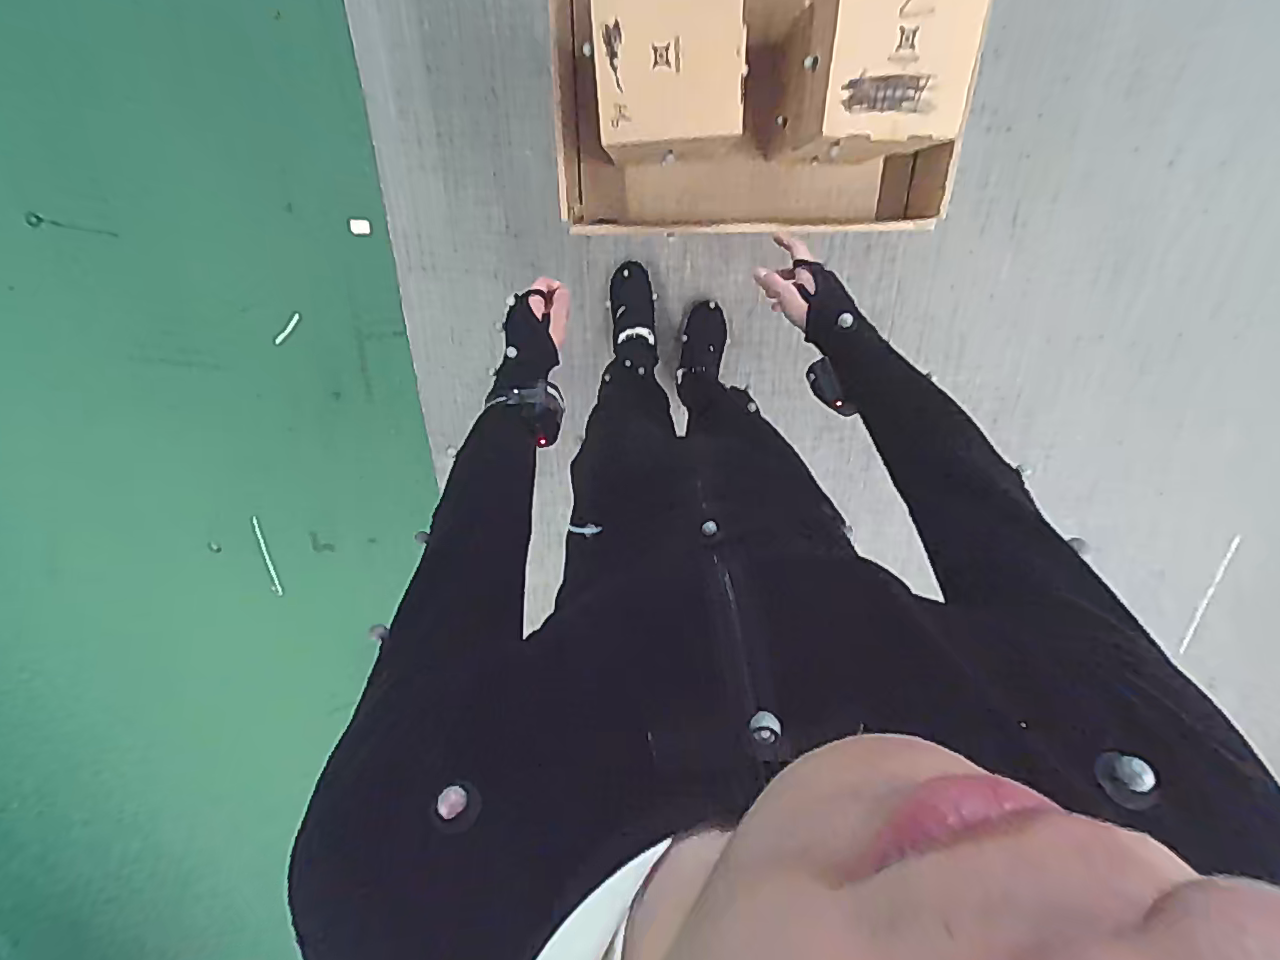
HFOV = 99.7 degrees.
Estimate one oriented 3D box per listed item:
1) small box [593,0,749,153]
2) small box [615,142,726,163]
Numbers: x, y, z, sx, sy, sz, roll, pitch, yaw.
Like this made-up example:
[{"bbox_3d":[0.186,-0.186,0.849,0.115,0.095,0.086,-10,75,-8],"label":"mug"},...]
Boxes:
[{"bbox_3d":[0.037,-0.527,0.695,0.179,0.176,0.168,-2,116,3],"label":"small box"},{"bbox_3d":[0.042,-0.598,0.843,0.179,0.176,0.168,-1,115,1],"label":"small box"}]
